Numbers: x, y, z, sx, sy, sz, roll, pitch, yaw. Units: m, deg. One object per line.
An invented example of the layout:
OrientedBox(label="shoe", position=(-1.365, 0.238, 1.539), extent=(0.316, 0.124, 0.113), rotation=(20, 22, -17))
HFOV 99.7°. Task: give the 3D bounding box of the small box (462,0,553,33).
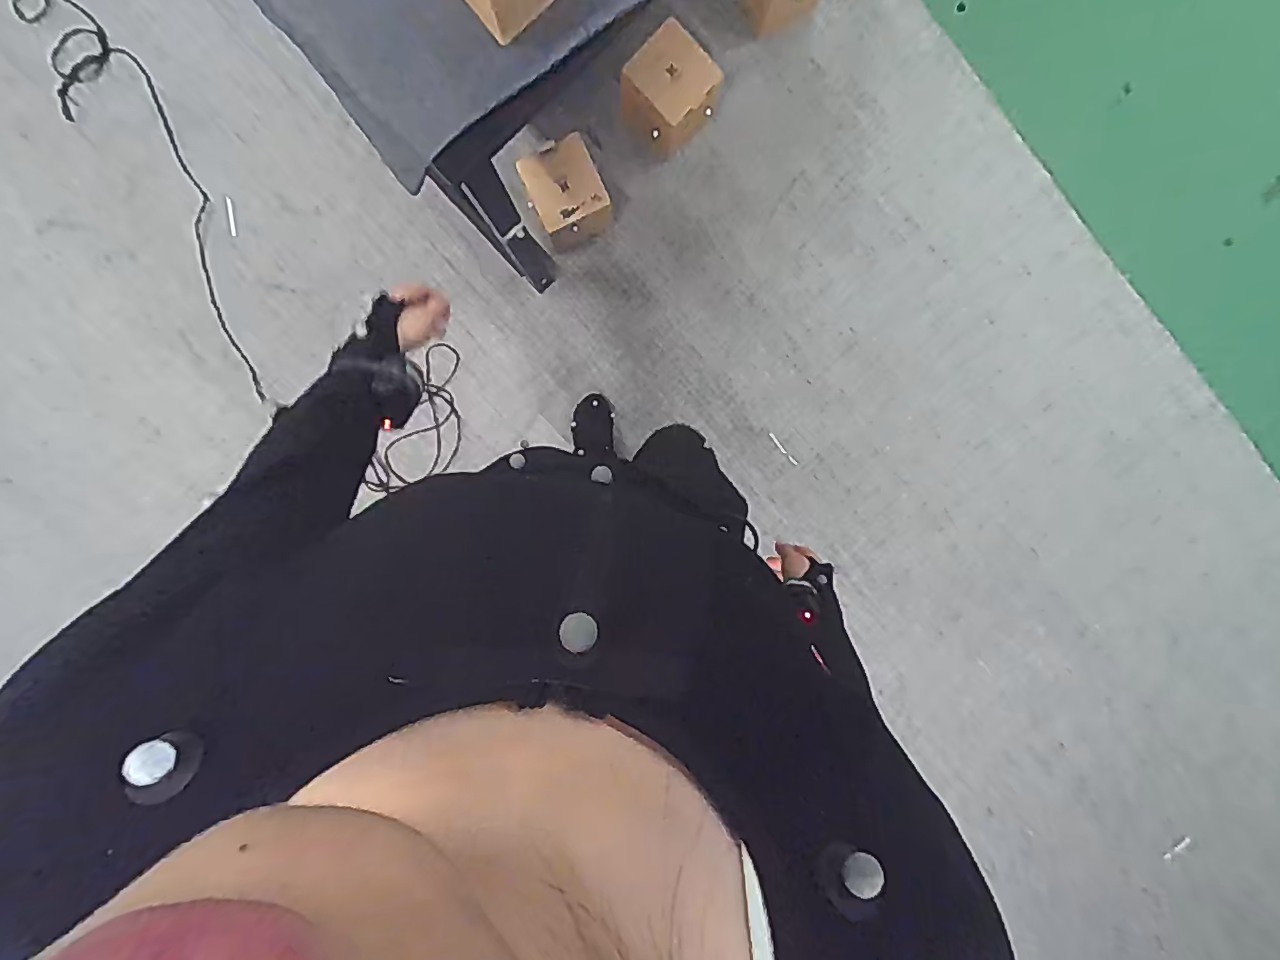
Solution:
OrientedBox(label="small box", position=(-0.159, -0.642, 0.584), extent=(0.168, 0.176, 0.179), rotation=(-41, 96, 3))

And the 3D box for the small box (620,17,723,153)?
OrientedBox(label="small box", position=(0.070, -0.923, 1.291), extent=(0.168, 0.176, 0.179), rotation=(-45, 95, 3))

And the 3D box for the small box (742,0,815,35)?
OrientedBox(label="small box", position=(0.333, -1.207, 1.264), extent=(0.179, 0.176, 0.168), rotation=(-30, 97, 0))

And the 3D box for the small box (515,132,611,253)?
OrientedBox(label="small box", position=(-0.180, -0.686, 1.312), extent=(0.168, 0.176, 0.179), rotation=(-25, 97, 1))
